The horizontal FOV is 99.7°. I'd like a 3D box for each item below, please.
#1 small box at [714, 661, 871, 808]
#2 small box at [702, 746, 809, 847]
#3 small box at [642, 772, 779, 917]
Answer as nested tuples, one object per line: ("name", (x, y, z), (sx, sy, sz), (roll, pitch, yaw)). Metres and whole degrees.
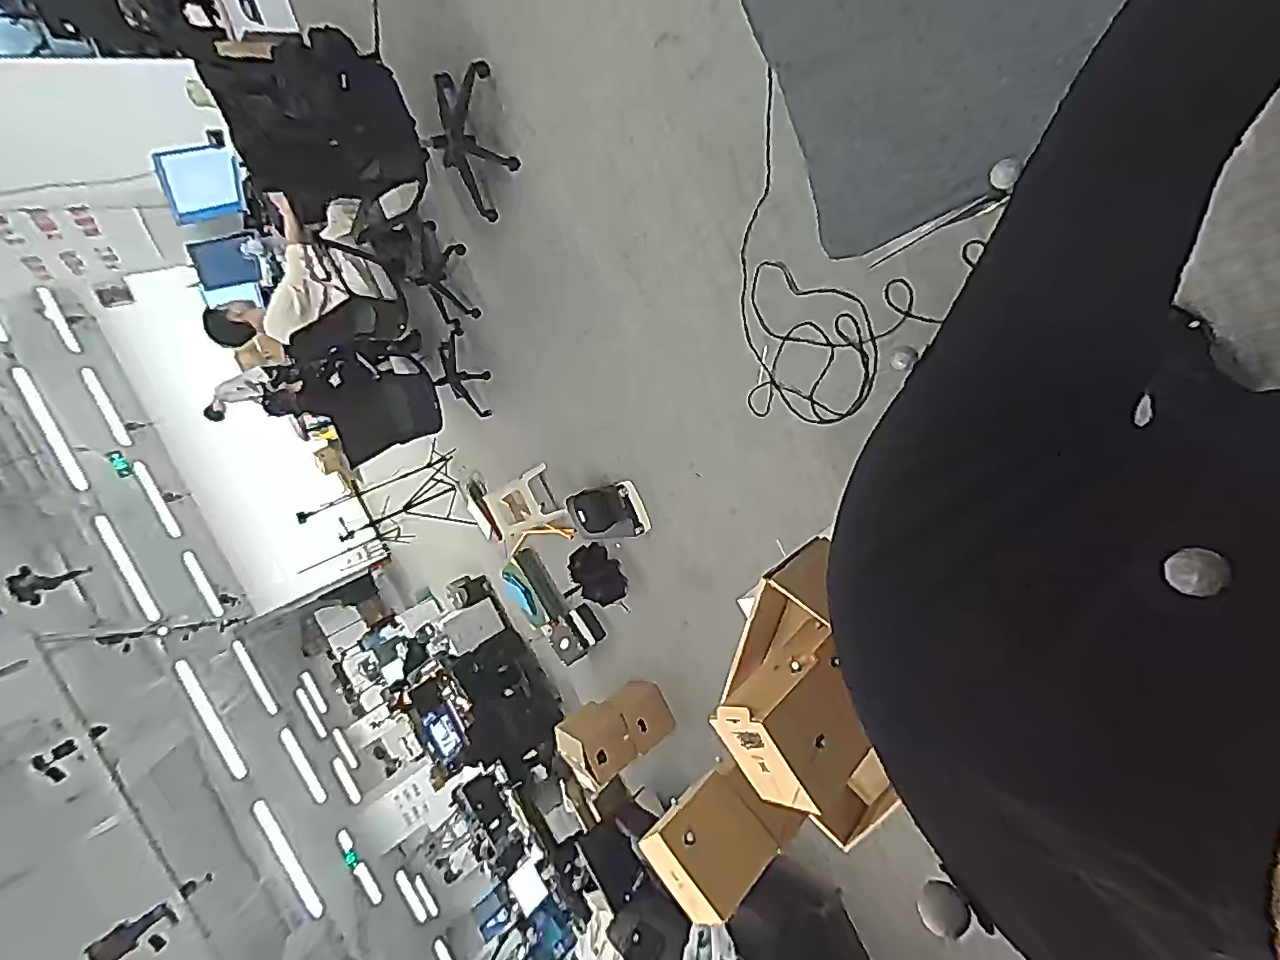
("small box", (0.274, 0.443, 0.976), (0.179, 0.176, 0.168), (56, 149, 3))
("small box", (0.258, 0.655, 1.163), (0.168, 0.176, 0.179), (47, 143, 18))
("small box", (0.135, 0.707, 1.064), (0.179, 0.176, 0.168), (45, 144, 21))
